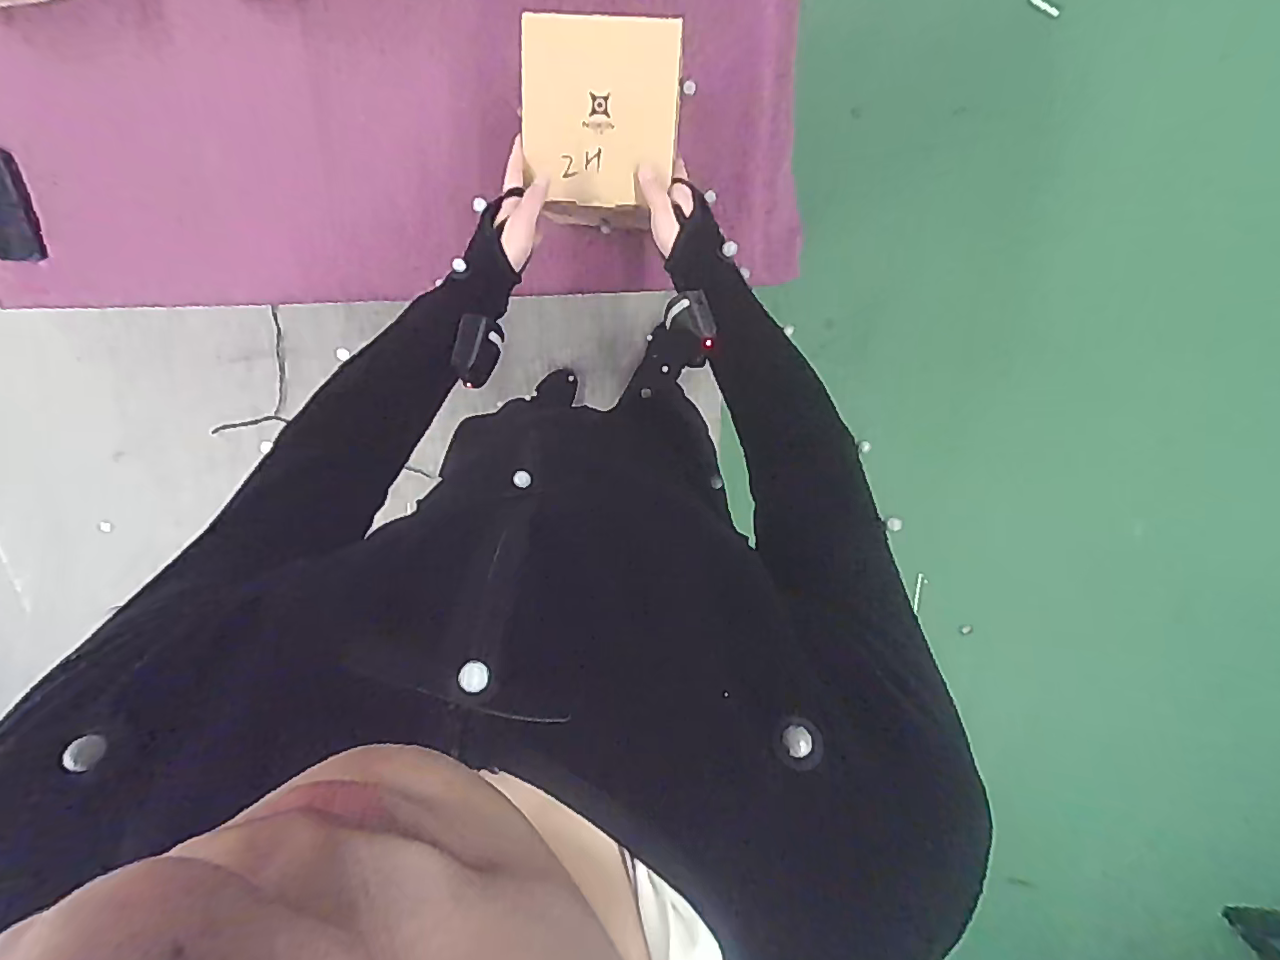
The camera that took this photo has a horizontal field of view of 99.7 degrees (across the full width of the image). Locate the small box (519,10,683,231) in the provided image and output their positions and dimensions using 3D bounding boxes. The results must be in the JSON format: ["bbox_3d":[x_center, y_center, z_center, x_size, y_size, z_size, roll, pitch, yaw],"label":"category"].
[{"bbox_3d":[-0.041,-0.407,0.643,0.168,0.176,0.179,5,109,2],"label":"small box"}]
